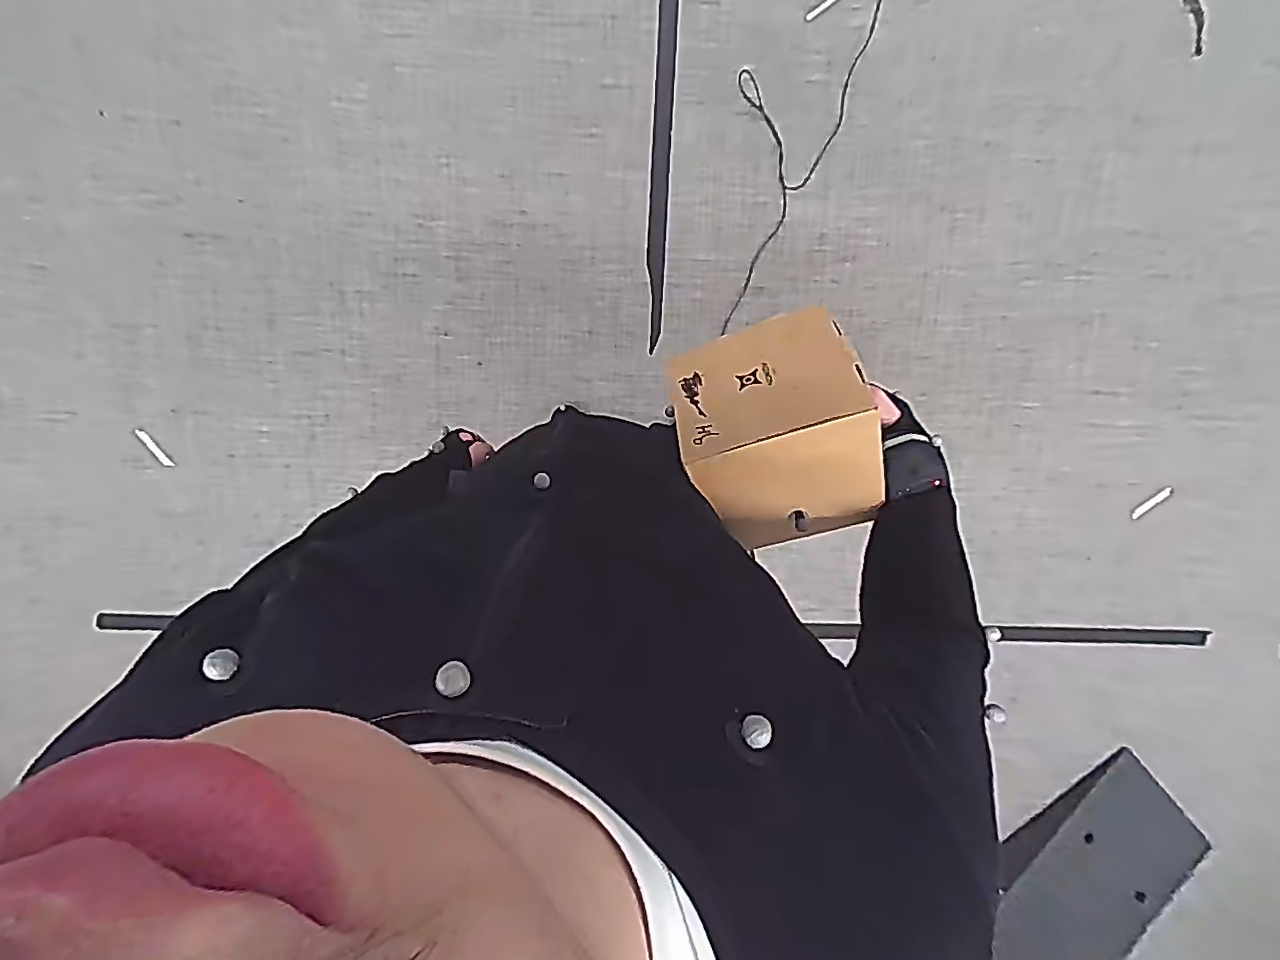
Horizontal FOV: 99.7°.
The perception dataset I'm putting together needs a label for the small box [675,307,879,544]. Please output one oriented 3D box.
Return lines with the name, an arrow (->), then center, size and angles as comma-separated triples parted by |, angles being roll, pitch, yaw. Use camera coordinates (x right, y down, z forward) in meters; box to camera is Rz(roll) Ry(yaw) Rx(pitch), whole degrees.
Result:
small box -> 0.151, -0.053, 0.600 | 0.179, 0.168, 0.176 | -16, 136, 14
